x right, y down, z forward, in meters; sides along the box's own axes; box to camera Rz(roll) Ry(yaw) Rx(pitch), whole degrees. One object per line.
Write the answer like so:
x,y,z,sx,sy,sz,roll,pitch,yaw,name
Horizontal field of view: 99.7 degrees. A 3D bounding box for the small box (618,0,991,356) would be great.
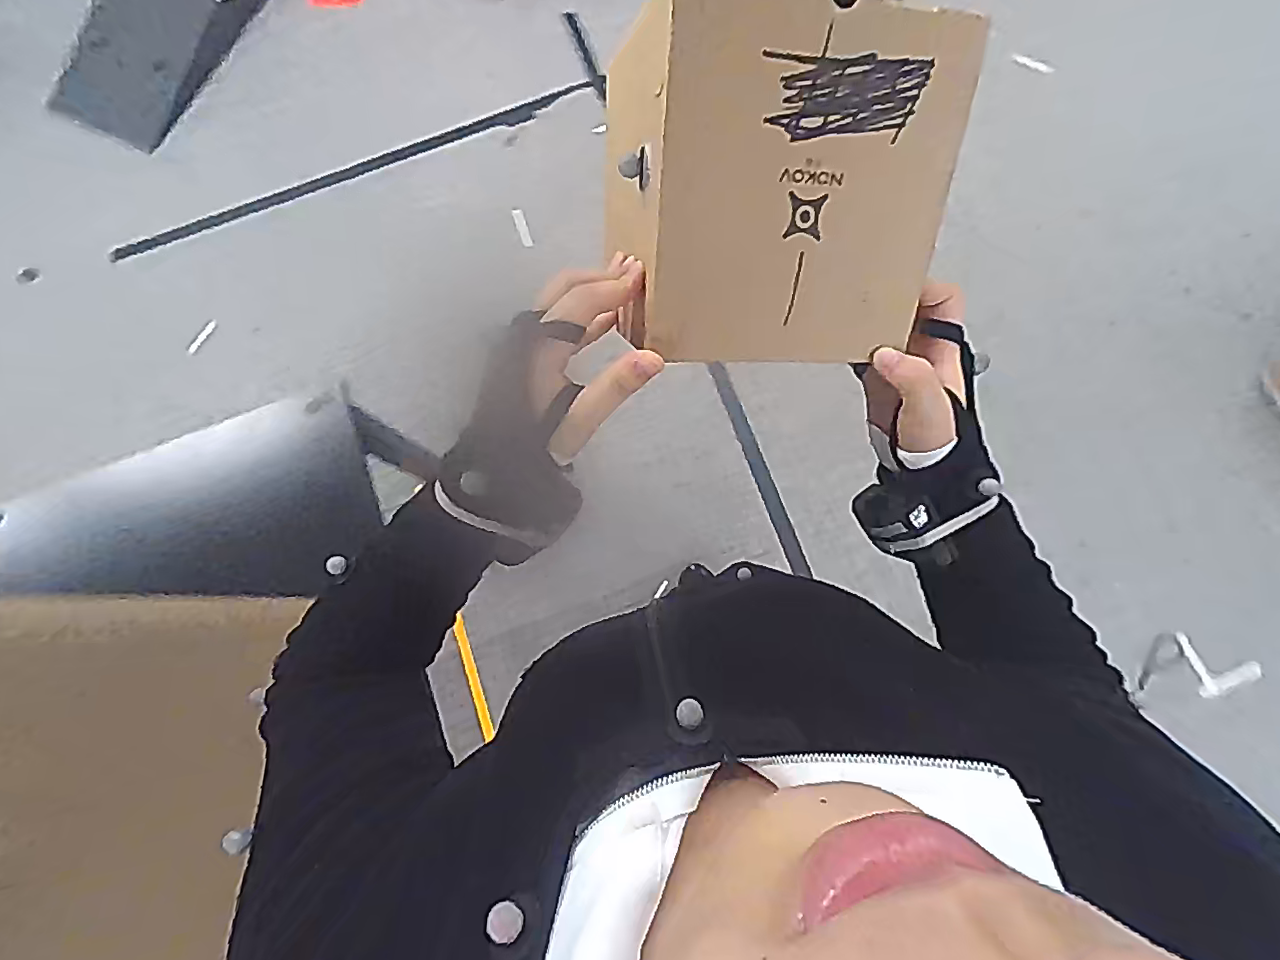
0.080,-0.189,0.365,0.168,0.176,0.179,-1,115,-12,small box
